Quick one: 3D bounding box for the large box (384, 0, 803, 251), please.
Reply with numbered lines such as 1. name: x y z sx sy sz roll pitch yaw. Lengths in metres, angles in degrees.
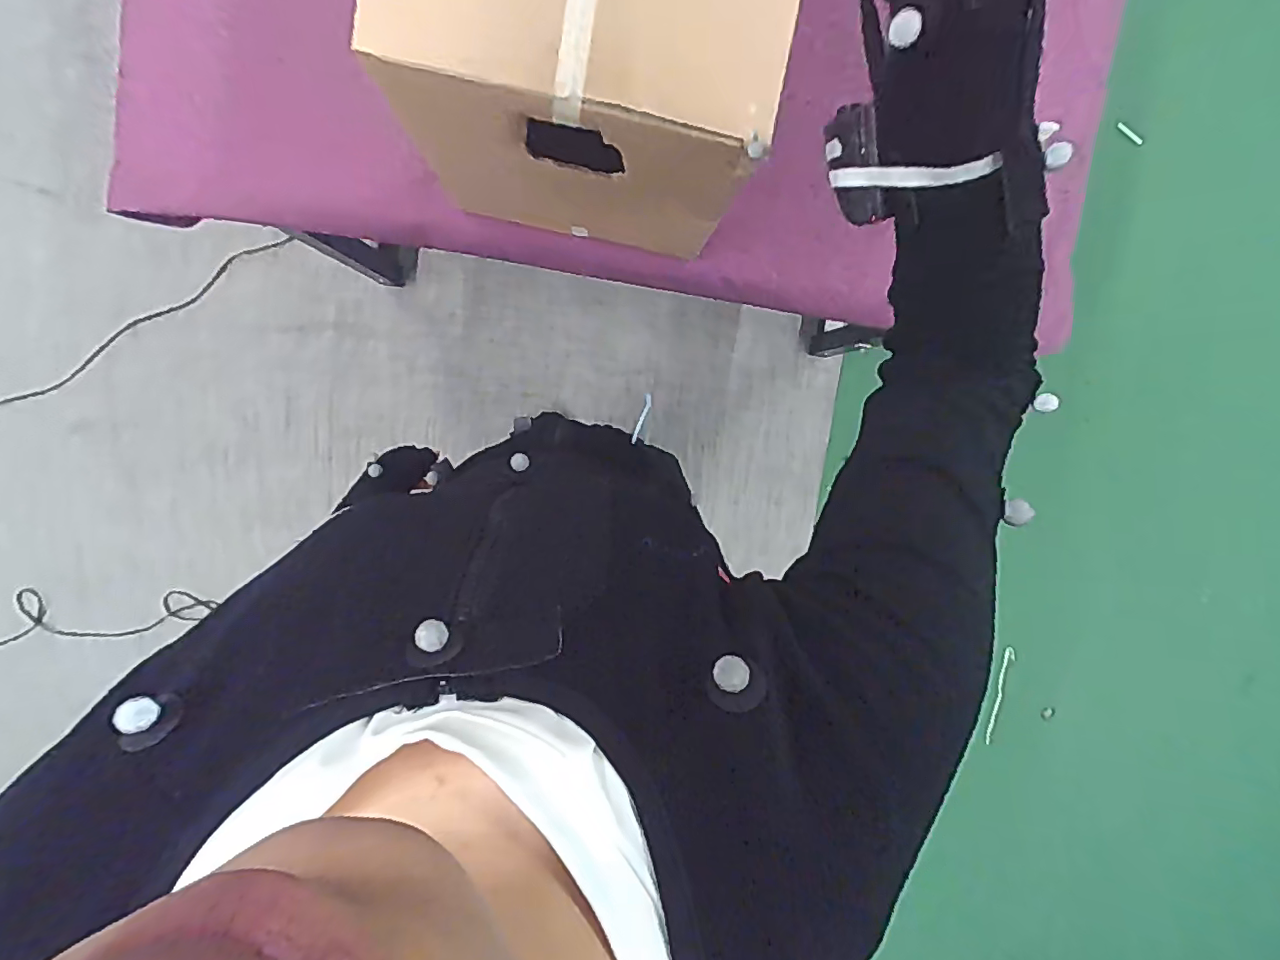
1. large box: -0.022 -0.503 0.541 0.320 0.320 0.408 10 98 -5
